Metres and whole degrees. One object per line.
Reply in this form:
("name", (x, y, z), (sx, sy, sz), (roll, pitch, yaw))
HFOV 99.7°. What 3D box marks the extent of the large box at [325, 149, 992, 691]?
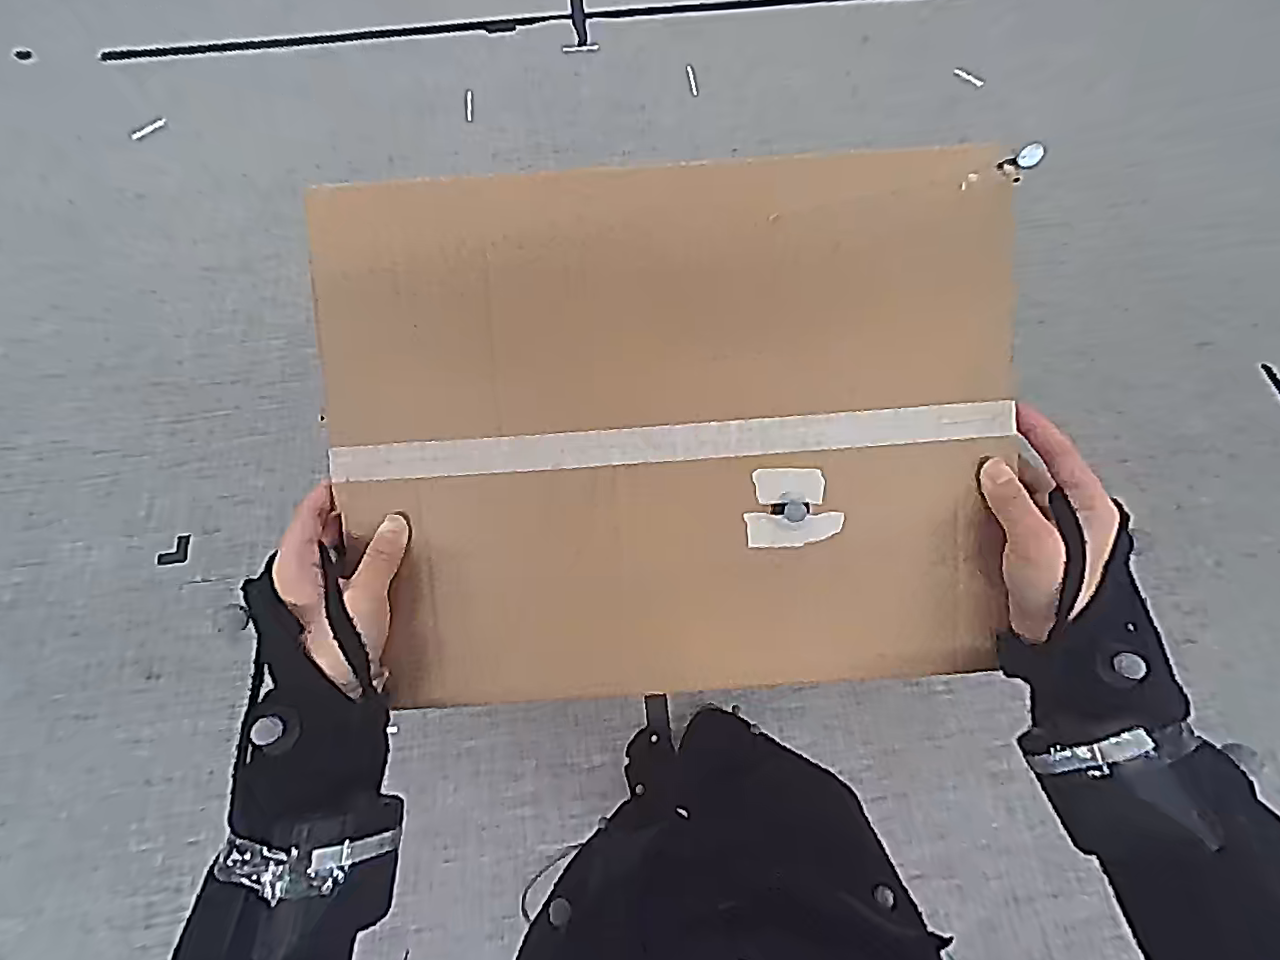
("large box", (0.016, -0.044, 0.485), (0.408, 0.320, 0.320), (-4, 96, -1))
